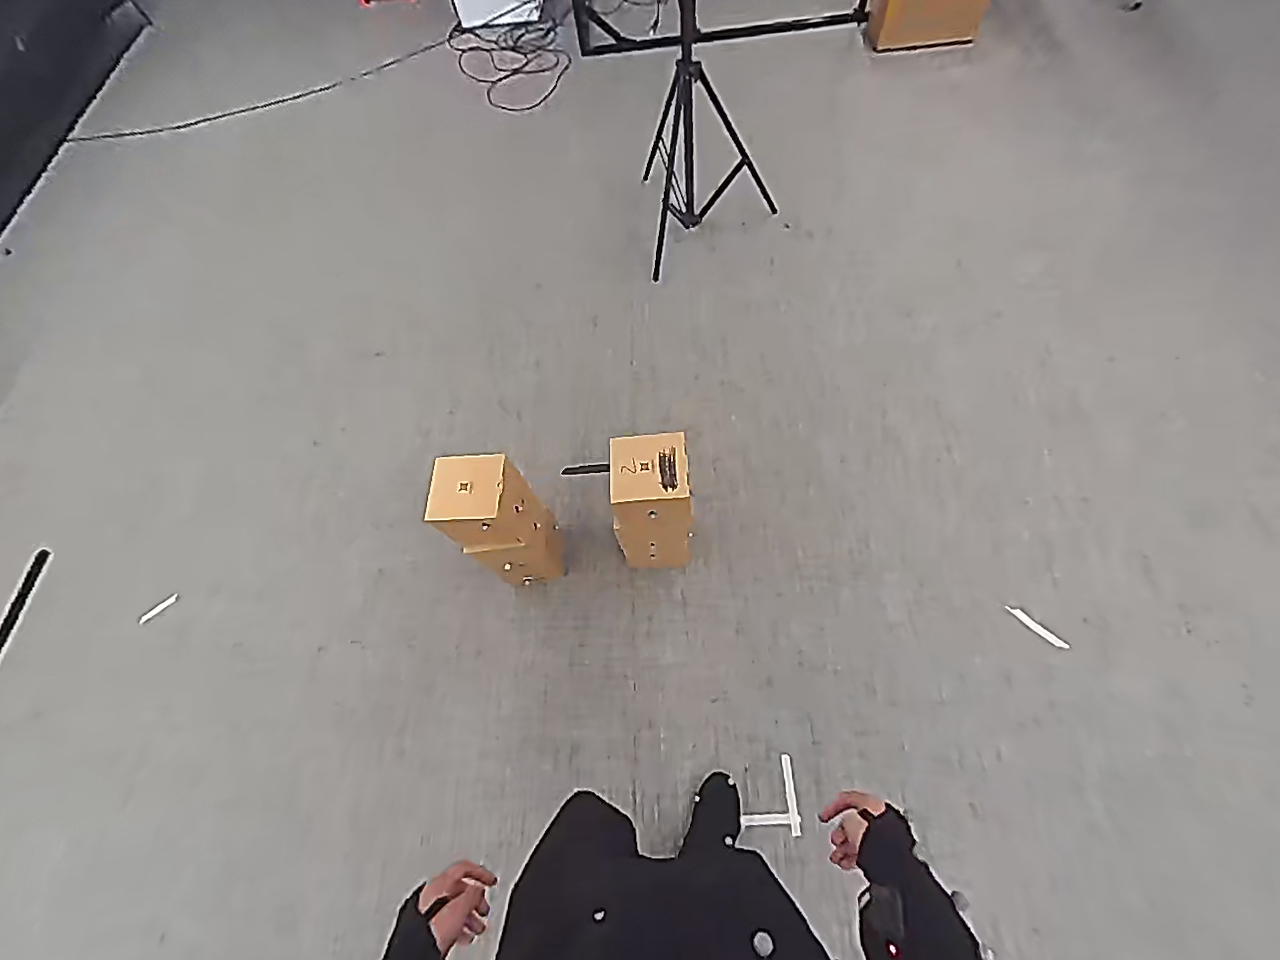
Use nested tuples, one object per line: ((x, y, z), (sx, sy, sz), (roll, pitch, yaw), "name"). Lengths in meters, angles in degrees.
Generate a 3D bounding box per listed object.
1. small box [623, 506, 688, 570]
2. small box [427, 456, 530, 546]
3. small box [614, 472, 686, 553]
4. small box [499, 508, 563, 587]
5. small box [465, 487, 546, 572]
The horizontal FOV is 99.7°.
((0.050, 0.161, 1.575), (0.179, 0.176, 0.168), (-2, 65, 5), "small box")
((-0.385, 0.056, 1.314), (0.179, 0.176, 0.168), (-2, 64, 6), "small box")
((0.032, 0.089, 1.428), (0.179, 0.176, 0.168), (0, 64, 6), "small box")
((-0.329, 0.202, 1.601), (0.168, 0.176, 0.179), (-8, 64, 3), "small box")
((-0.354, 0.136, 1.453), (0.168, 0.176, 0.179), (-7, 64, 5), "small box")
